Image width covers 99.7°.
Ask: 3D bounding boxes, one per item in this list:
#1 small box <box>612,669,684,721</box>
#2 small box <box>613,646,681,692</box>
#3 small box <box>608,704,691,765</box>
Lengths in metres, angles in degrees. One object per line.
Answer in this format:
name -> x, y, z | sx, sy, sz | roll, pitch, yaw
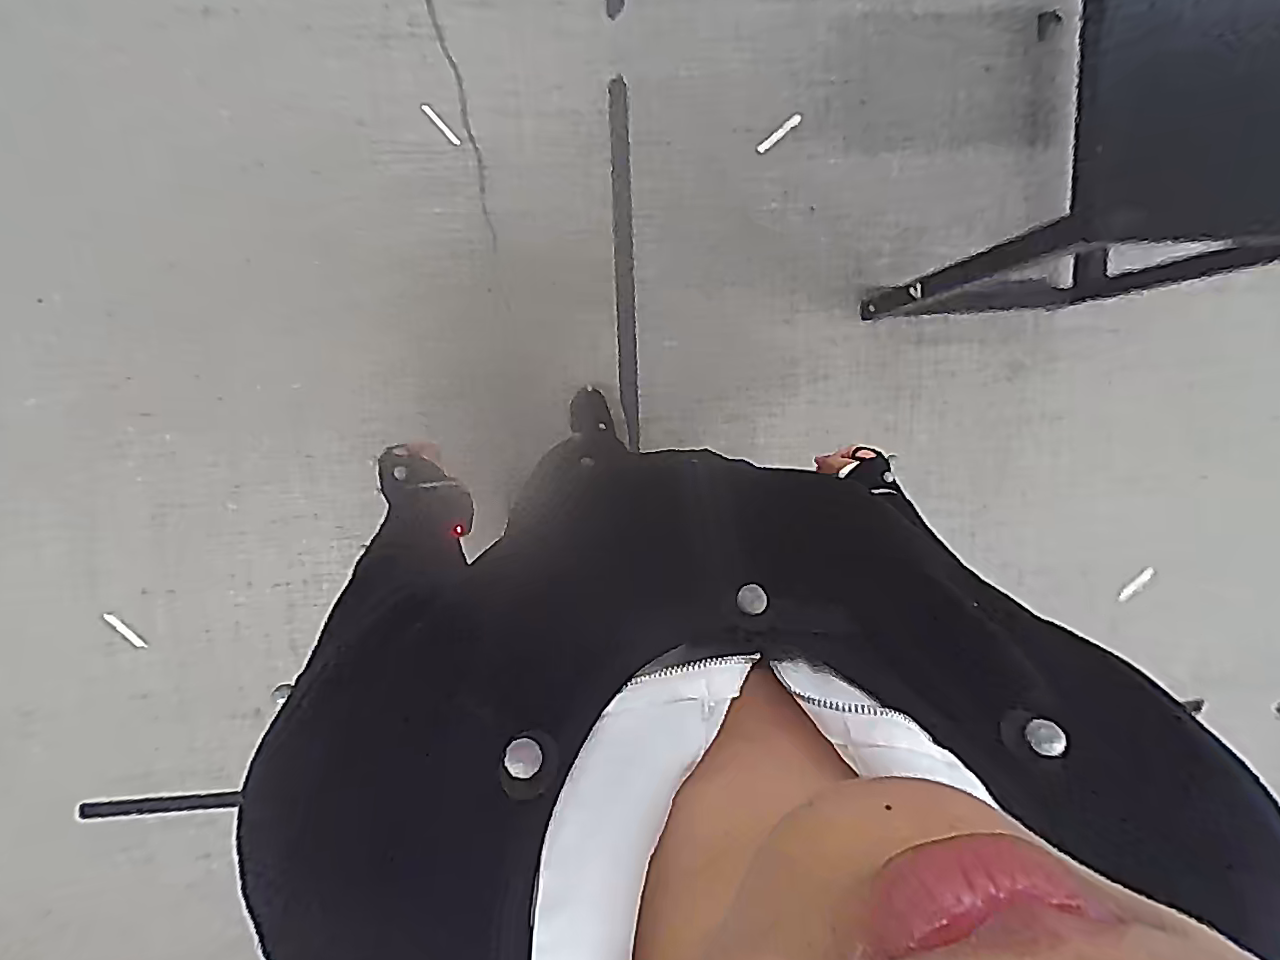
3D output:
small box -> 0.022, 0.588, 1.319 | 0.168, 0.176, 0.179 | -5, 98, -1
small box -> 0.018, 0.570, 1.481 | 0.179, 0.176, 0.168 | -4, 98, -3
small box -> 0.022, 0.609, 1.155 | 0.168, 0.176, 0.179 | -5, 97, -1
